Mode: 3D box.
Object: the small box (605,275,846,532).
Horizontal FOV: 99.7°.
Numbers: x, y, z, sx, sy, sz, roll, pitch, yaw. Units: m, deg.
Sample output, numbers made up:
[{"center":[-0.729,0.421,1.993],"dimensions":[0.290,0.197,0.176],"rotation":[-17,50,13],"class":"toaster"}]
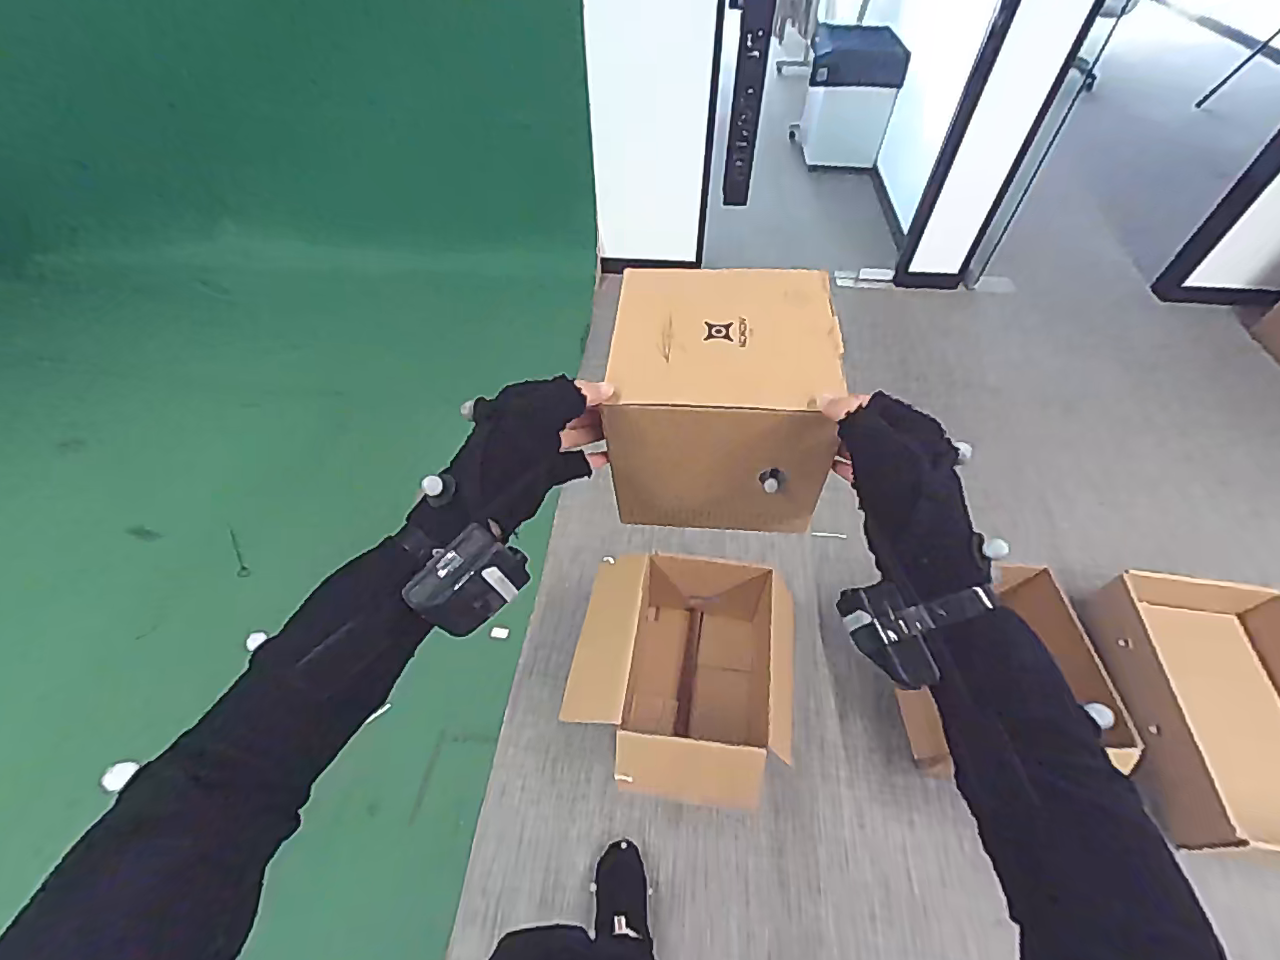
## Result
[{"center":[0.072,-0.065,0.500],"dimensions":[0.179,0.176,0.168],"rotation":[3,53,6],"class":"small box"}]
